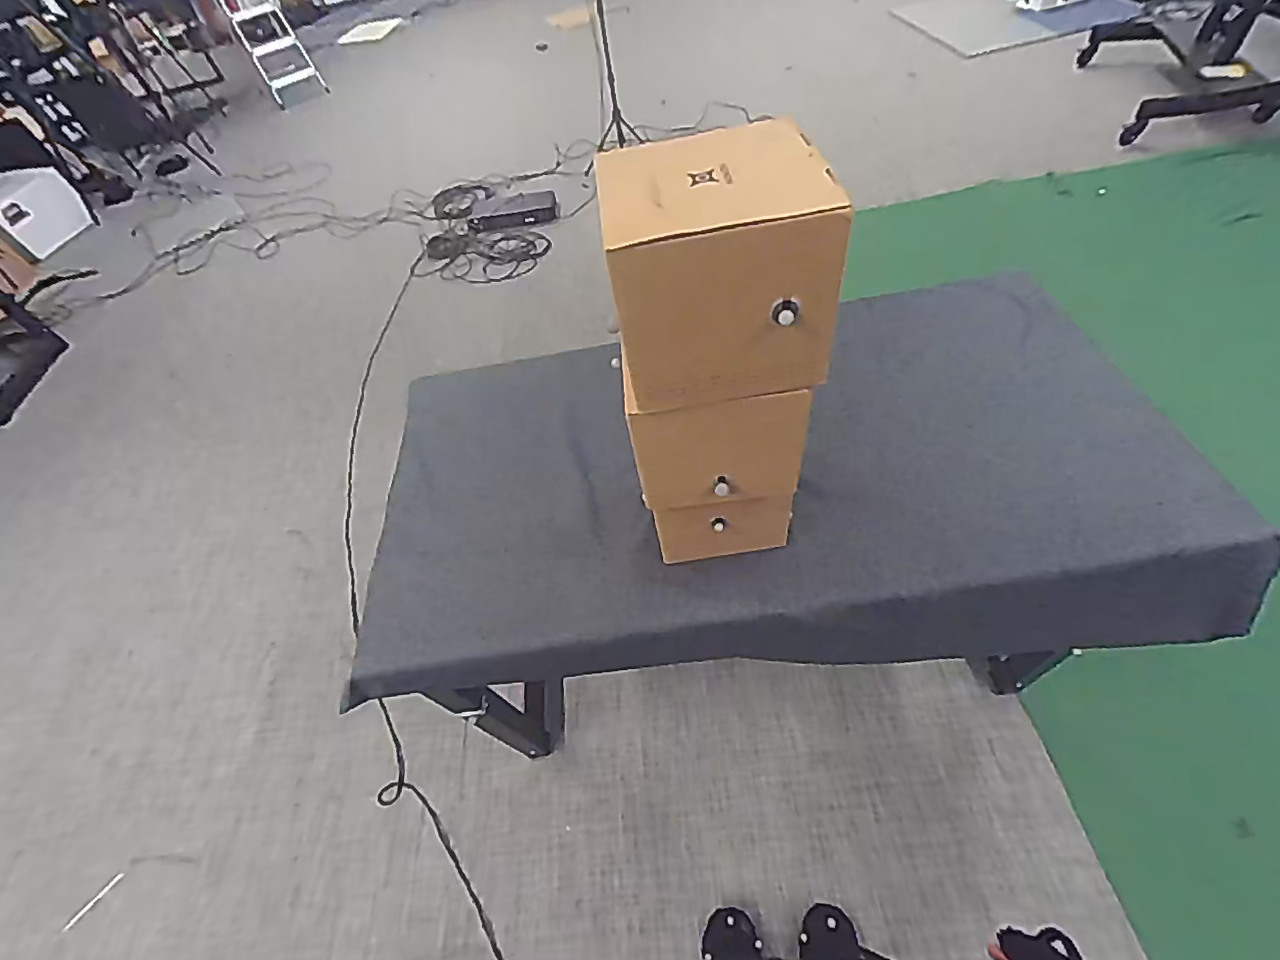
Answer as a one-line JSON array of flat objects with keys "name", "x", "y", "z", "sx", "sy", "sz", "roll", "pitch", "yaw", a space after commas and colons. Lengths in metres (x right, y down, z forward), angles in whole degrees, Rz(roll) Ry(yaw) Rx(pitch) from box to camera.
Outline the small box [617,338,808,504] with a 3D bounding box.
[{"name": "small box", "x": 0.075, "y": -0.091, "z": 0.618, "sx": 0.179, "sy": 0.176, "sz": 0.168, "roll": -10, "pitch": 54, "yaw": 3}]

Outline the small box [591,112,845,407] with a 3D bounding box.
[{"name": "small box", "x": 0.061, "y": -0.189, "z": 0.485, "sx": 0.179, "sy": 0.176, "sz": 0.168, "roll": -10, "pitch": 52, "yaw": 4}]

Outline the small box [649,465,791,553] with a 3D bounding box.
[{"name": "small box", "x": 0.099, "y": -0.016, "z": 0.758, "sx": 0.179, "sy": 0.176, "sz": 0.168, "roll": -10, "pitch": 53, "yaw": 4}]
